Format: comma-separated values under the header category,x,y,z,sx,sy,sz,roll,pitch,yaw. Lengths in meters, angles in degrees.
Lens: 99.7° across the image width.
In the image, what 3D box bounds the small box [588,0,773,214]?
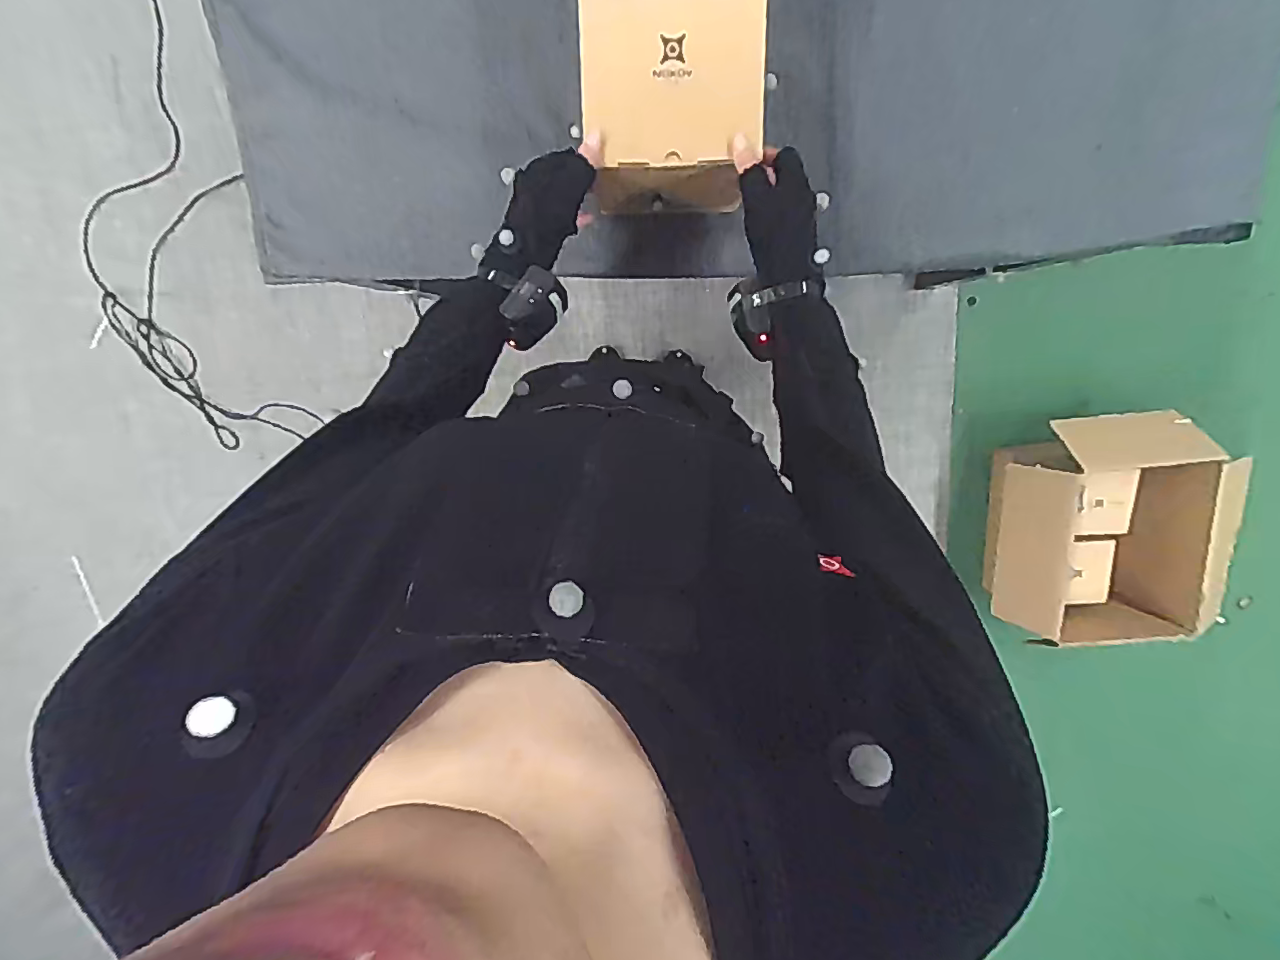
category,x,y,z,sx,sy,sz,roll,pitch,yaw
small box,0.036,-0.392,0.561,0.168,0.176,0.179,-1,103,2
